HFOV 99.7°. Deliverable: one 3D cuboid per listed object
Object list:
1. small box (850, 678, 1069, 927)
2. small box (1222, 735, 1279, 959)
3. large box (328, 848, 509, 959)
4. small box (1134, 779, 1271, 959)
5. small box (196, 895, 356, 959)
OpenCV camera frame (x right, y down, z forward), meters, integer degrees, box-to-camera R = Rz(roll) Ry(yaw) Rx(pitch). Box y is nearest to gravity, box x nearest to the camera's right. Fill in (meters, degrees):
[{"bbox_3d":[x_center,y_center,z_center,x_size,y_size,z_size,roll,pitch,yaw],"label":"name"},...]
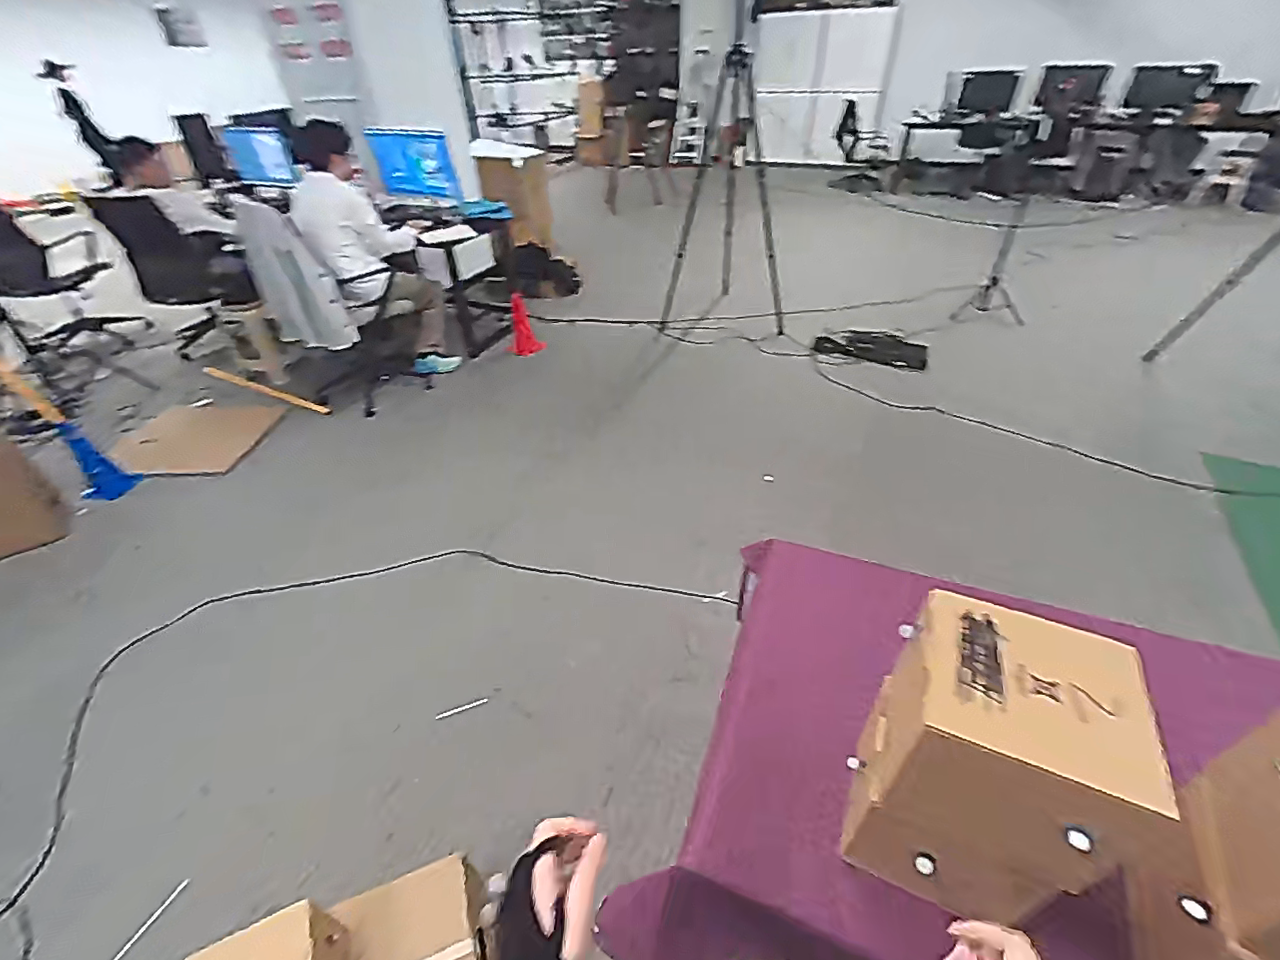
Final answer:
[{"bbox_3d":[0.359,0.374,0.633,0.179,0.176,0.168,15,42,22],"label":"small box"},{"bbox_3d":[0.626,0.314,0.431,0.168,0.176,0.179,20,44,27],"label":"small box"},{"bbox_3d":[-0.457,0.978,0.989,0.408,0.320,0.320,-15,41,-16],"label":"large box"},{"bbox_3d":[0.628,0.447,0.528,0.168,0.176,0.179,19,44,25],"label":"small box"},{"bbox_3d":[-0.552,0.794,0.830,0.179,0.176,0.168,-18,39,-18],"label":"small box"}]
